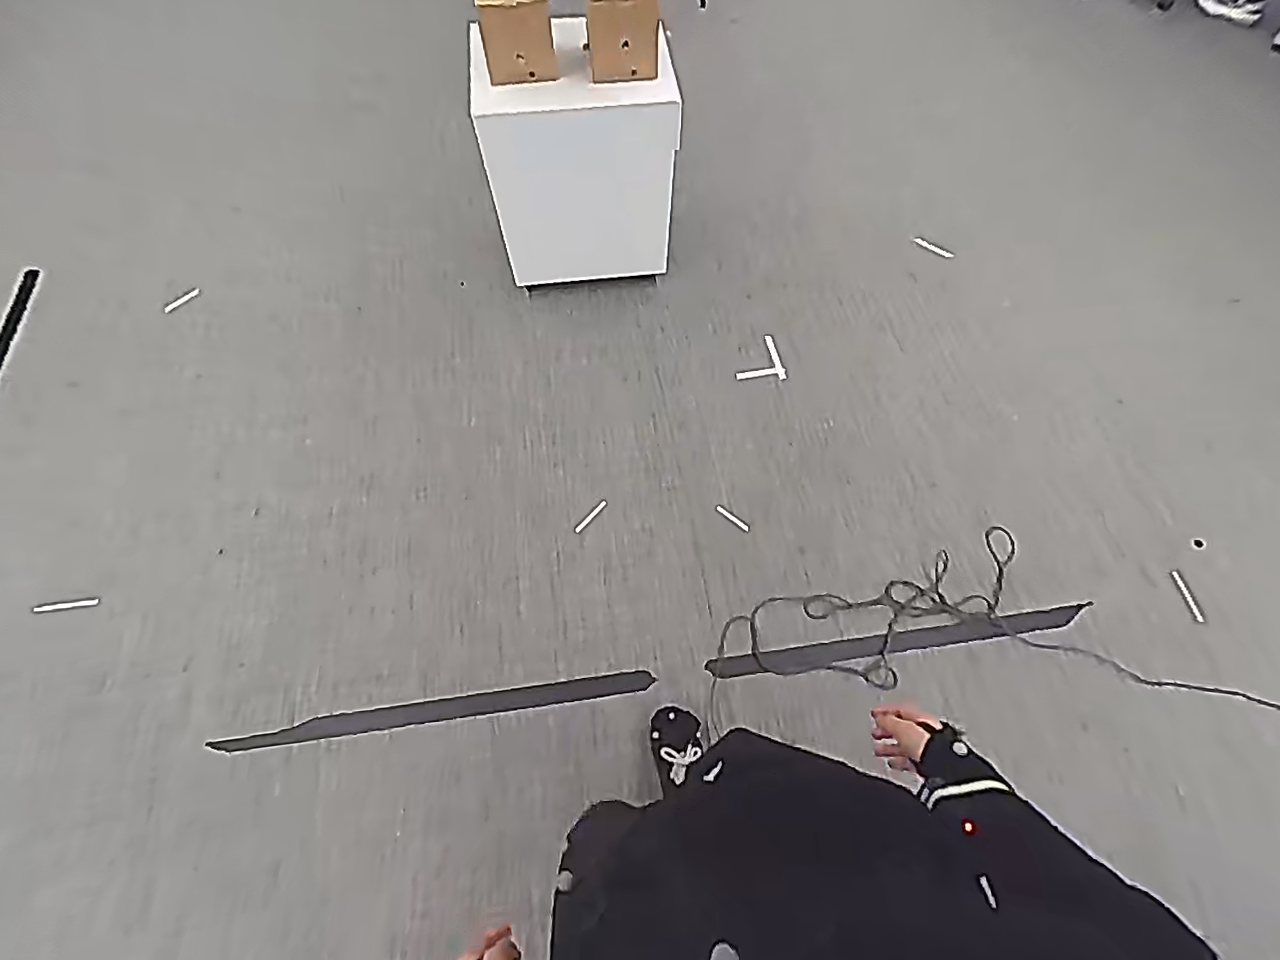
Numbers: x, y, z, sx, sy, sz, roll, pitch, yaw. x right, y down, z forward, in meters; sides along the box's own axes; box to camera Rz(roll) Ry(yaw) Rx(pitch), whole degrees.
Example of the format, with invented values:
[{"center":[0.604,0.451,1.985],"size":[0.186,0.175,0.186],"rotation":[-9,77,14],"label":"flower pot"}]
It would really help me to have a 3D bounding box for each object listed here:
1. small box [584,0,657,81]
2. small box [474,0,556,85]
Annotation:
[{"center":[-0.047,-1.110,1.319],"size":[0.168,0.176,0.179],"rotation":[-6,67,-2],"label":"small box"},{"center":[-0.302,-1.100,1.310],"size":[0.168,0.176,0.179],"rotation":[-9,66,-5],"label":"small box"}]
